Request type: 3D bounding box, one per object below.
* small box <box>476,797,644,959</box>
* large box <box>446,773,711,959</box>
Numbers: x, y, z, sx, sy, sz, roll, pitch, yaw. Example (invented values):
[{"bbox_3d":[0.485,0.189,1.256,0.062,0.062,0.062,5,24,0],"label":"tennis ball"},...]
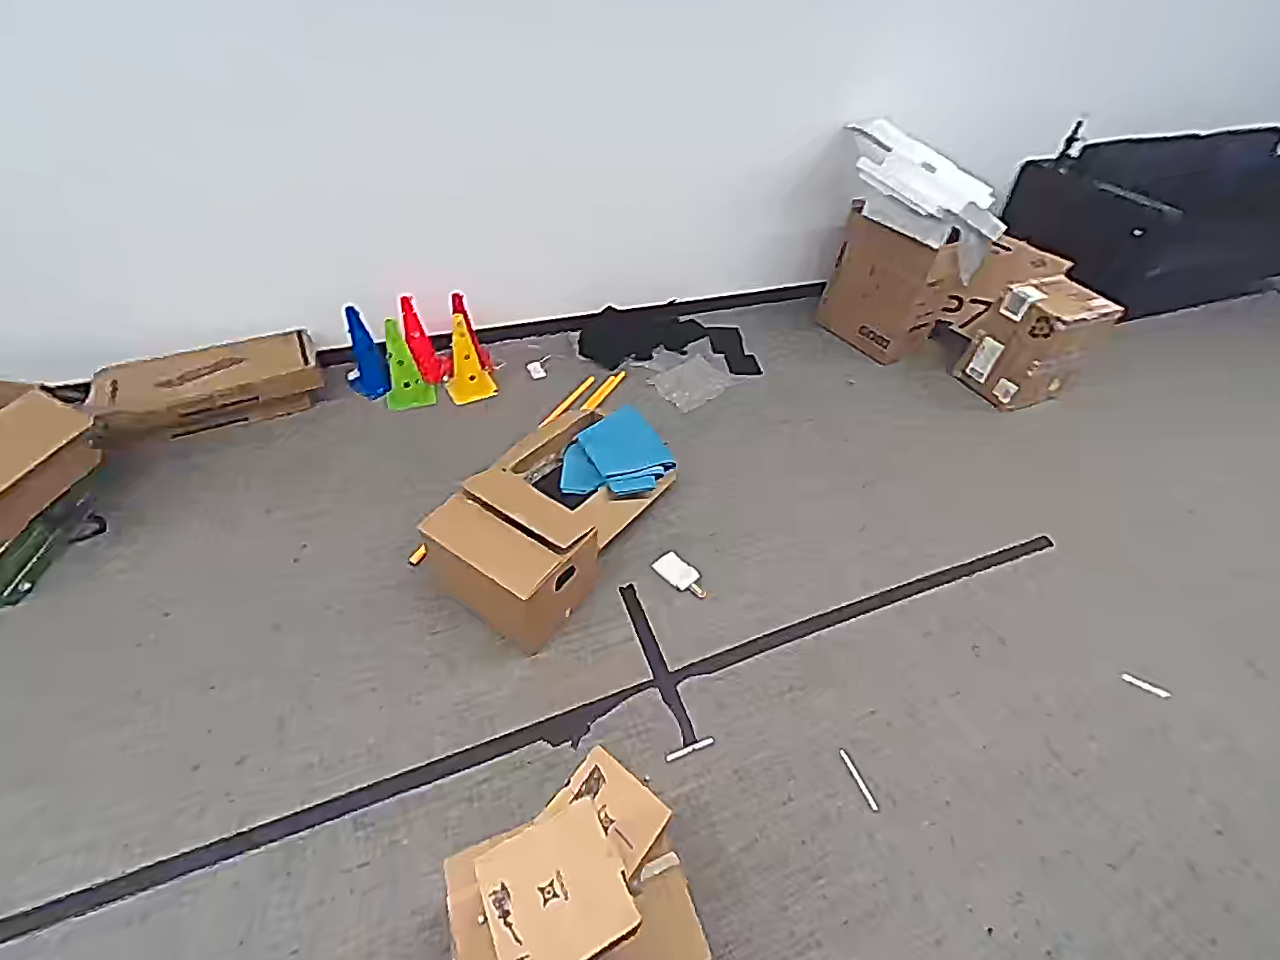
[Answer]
[{"bbox_3d":[-0.112,0.584,0.754,0.179,0.176,0.168,-19,50,-21],"label":"small box"},{"bbox_3d":[-0.126,0.856,1.057,0.408,0.320,0.320,-14,49,-19],"label":"large box"}]
